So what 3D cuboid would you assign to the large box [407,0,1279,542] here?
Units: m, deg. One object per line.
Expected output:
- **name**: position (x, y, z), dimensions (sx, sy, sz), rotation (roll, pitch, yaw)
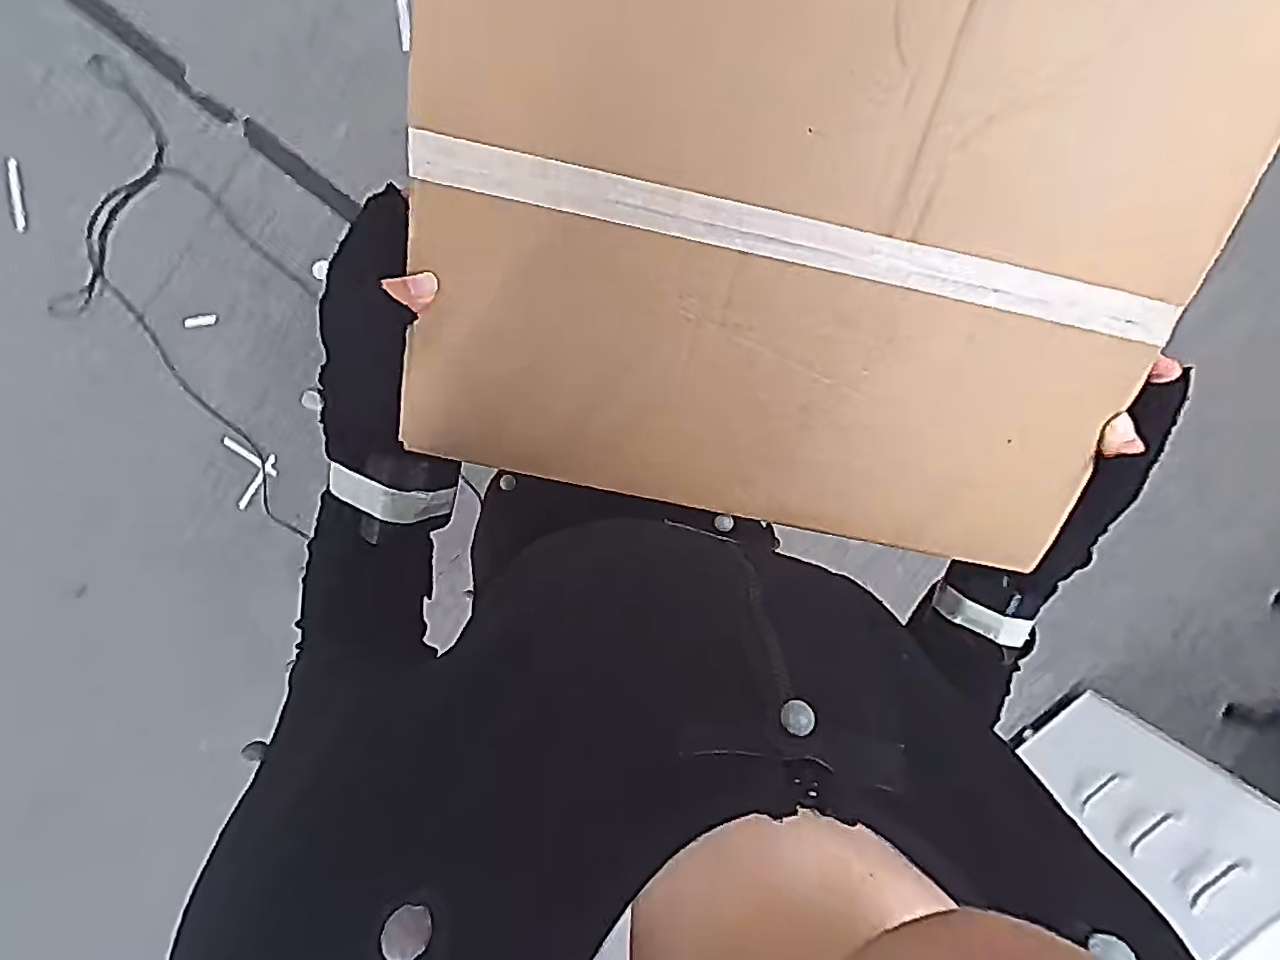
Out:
- **large box**: position (0.077, -0.183, 0.424), dimensions (0.408, 0.320, 0.320), rotation (10, 113, -4)
